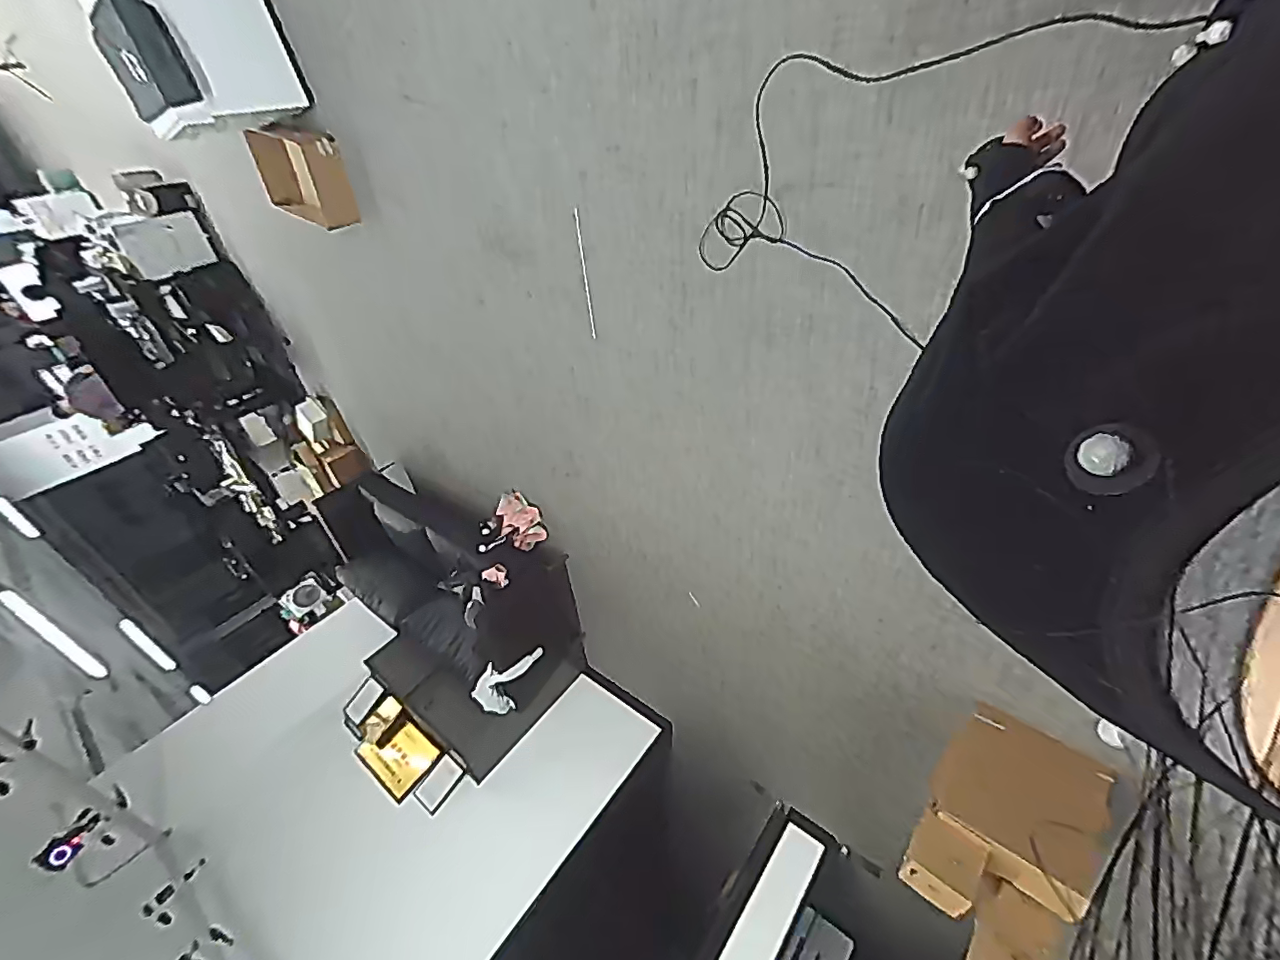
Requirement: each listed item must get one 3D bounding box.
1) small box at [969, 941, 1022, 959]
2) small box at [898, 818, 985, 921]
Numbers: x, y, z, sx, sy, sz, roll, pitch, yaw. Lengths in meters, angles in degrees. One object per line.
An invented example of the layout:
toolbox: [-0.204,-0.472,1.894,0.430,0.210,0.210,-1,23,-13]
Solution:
small box: [1.033,1.459,1.526,0.168,0.176,0.179,27,137,27]
small box: [0.937,1.201,1.678,0.179,0.176,0.168,26,134,29]
